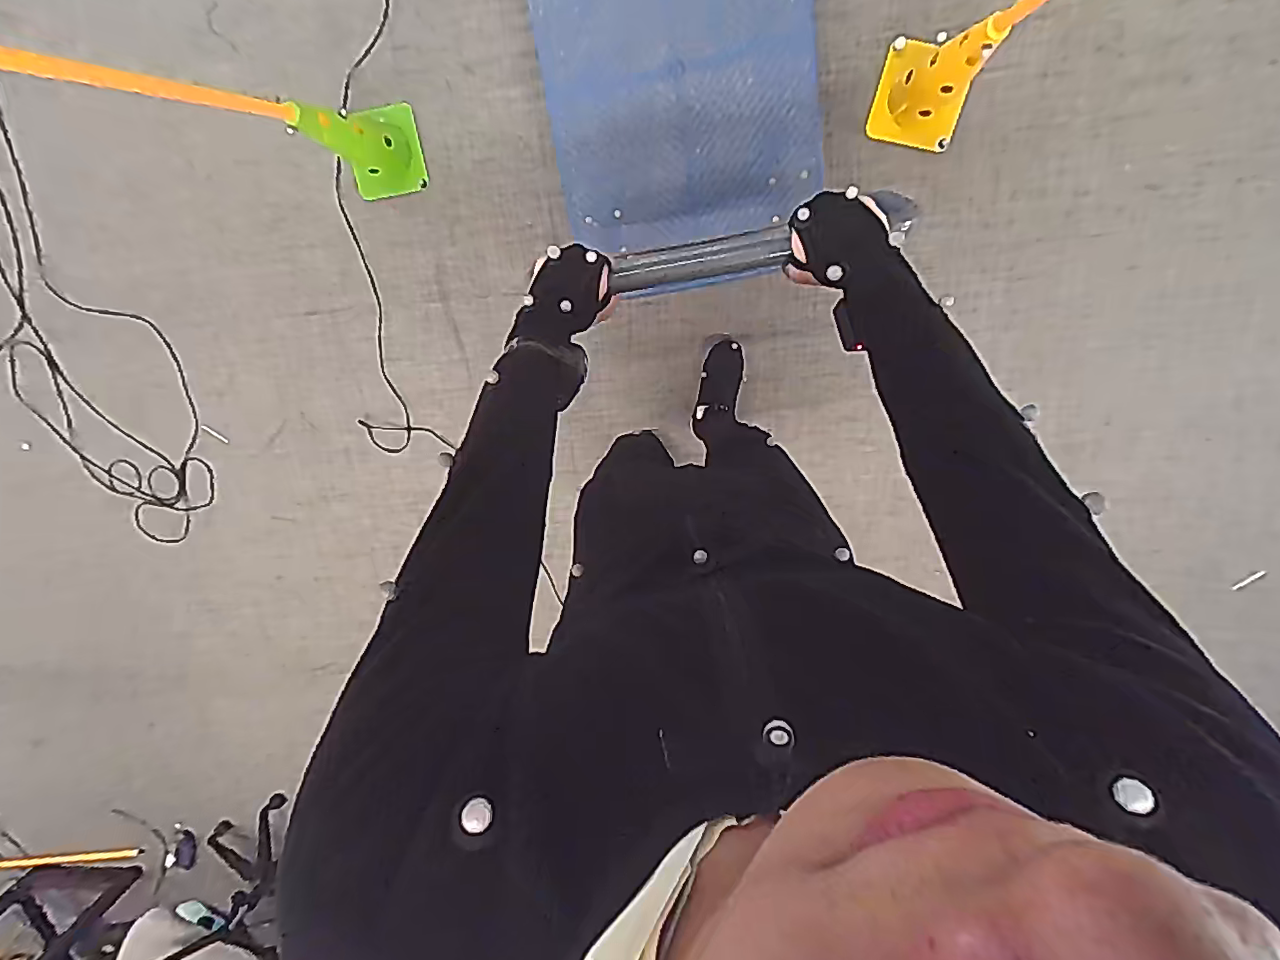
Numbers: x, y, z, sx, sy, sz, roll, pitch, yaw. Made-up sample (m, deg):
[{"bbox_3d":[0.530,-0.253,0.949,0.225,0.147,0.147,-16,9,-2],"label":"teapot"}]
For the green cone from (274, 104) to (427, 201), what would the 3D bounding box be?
[{"bbox_3d":[-0.693,-0.801,1.258,0.202,0.368,0.200,-6,108,11],"label":"green cone"}]
